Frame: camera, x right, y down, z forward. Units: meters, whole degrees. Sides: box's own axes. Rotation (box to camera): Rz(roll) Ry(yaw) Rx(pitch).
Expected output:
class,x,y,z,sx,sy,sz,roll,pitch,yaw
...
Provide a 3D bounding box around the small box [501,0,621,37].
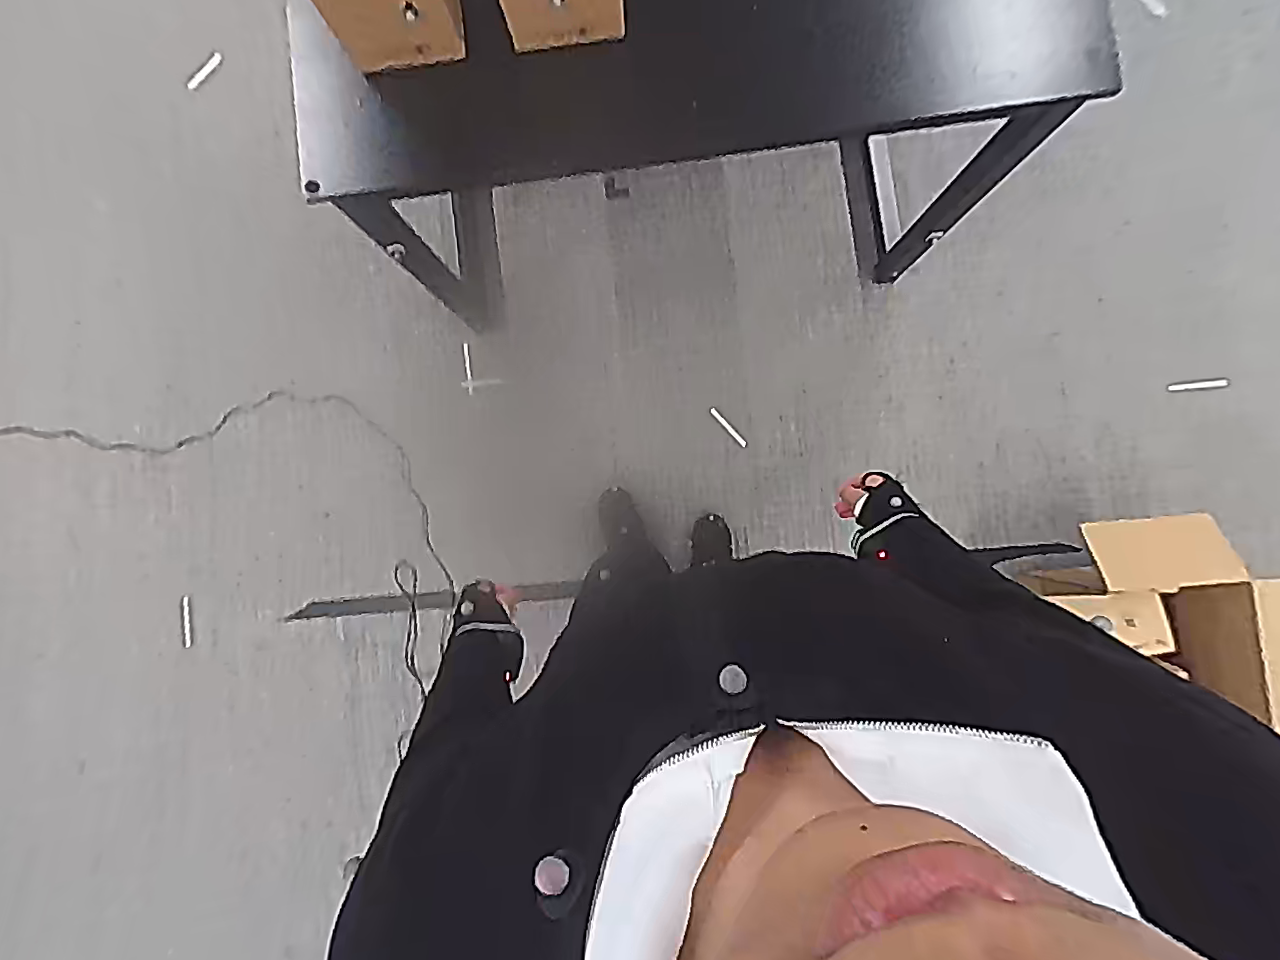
class,x,y,z,sx,sy,sz,roll,pitch,yaw
small box,-0.118,-0.741,0.726,0.168,0.176,0.179,-6,88,1

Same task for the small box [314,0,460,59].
class,x,y,z,sx,sy,sz,roll,pitch,yaw
small box,-0.357,-0.716,0.735,0.168,0.176,0.179,-7,87,0
